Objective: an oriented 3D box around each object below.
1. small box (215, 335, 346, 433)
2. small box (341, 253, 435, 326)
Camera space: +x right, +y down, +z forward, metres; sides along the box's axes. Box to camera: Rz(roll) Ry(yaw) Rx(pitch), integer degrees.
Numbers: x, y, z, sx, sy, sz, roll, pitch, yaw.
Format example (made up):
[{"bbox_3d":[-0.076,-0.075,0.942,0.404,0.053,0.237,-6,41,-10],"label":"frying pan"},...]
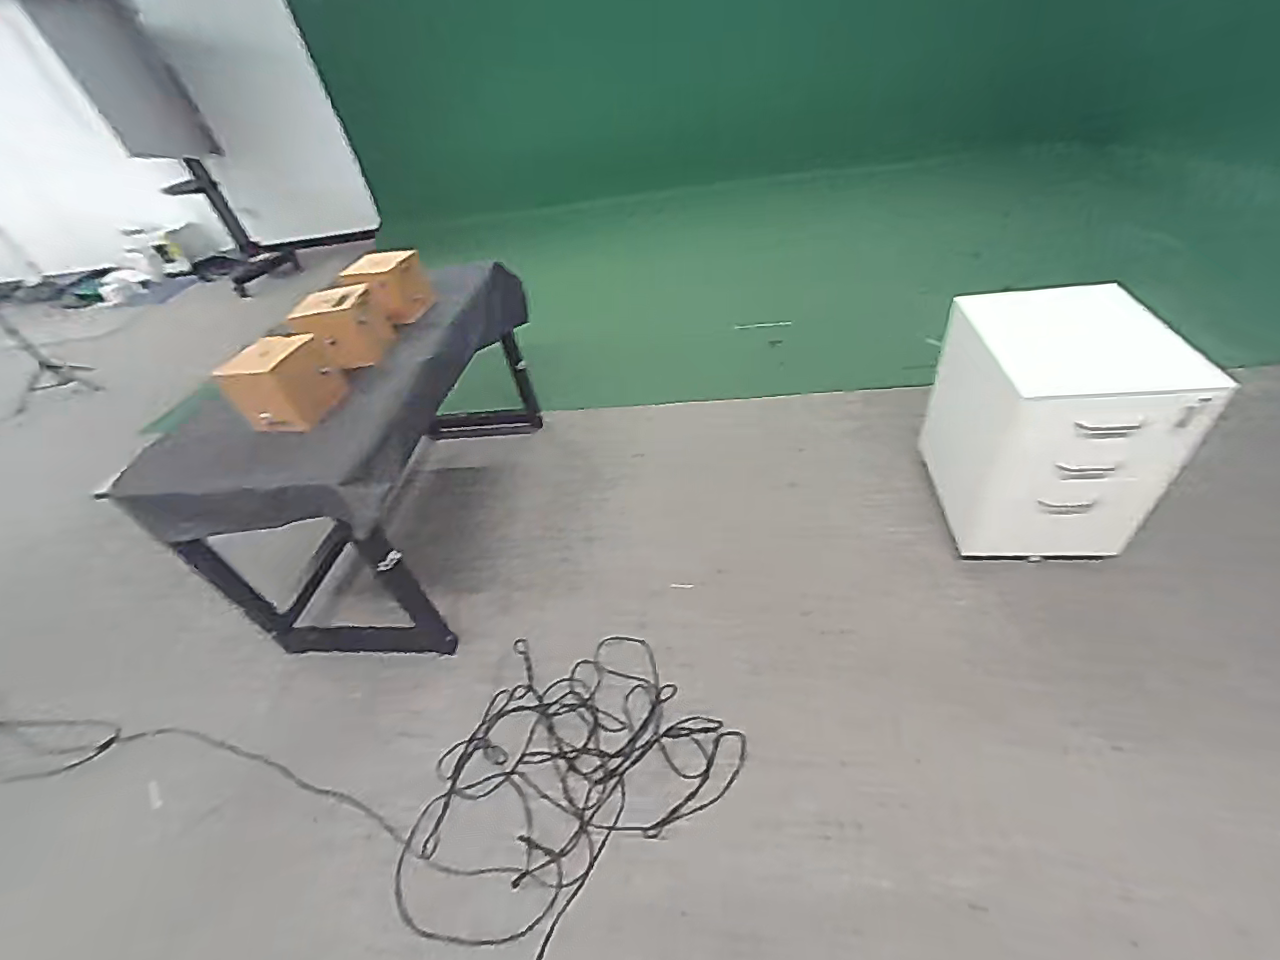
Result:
[{"bbox_3d":[-0.853,-0.231,1.310,0.168,0.176,0.179,0,43,14],"label":"small box"},{"bbox_3d":[-0.785,-0.595,1.700,0.179,0.176,0.168,2,43,14],"label":"small box"}]
